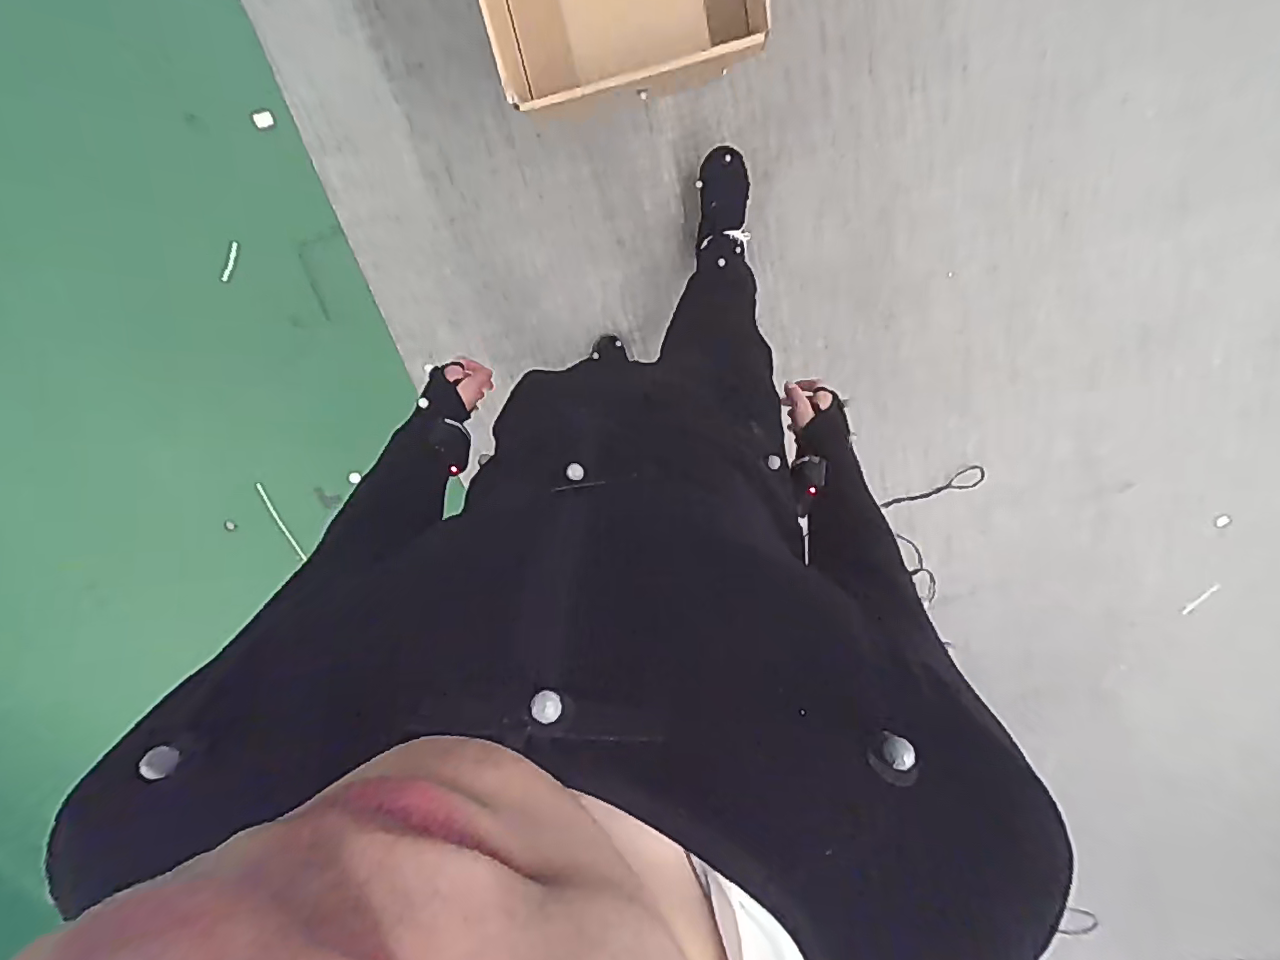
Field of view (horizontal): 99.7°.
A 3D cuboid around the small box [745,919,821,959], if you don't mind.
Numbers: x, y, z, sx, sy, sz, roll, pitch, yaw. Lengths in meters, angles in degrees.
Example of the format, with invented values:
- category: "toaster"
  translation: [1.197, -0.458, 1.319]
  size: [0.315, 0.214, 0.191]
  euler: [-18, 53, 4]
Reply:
- category: "small box"
  translation: [0.367, 1.228, 1.346]
  size: [0.168, 0.176, 0.179]
  euler: [-17, 115, 12]
